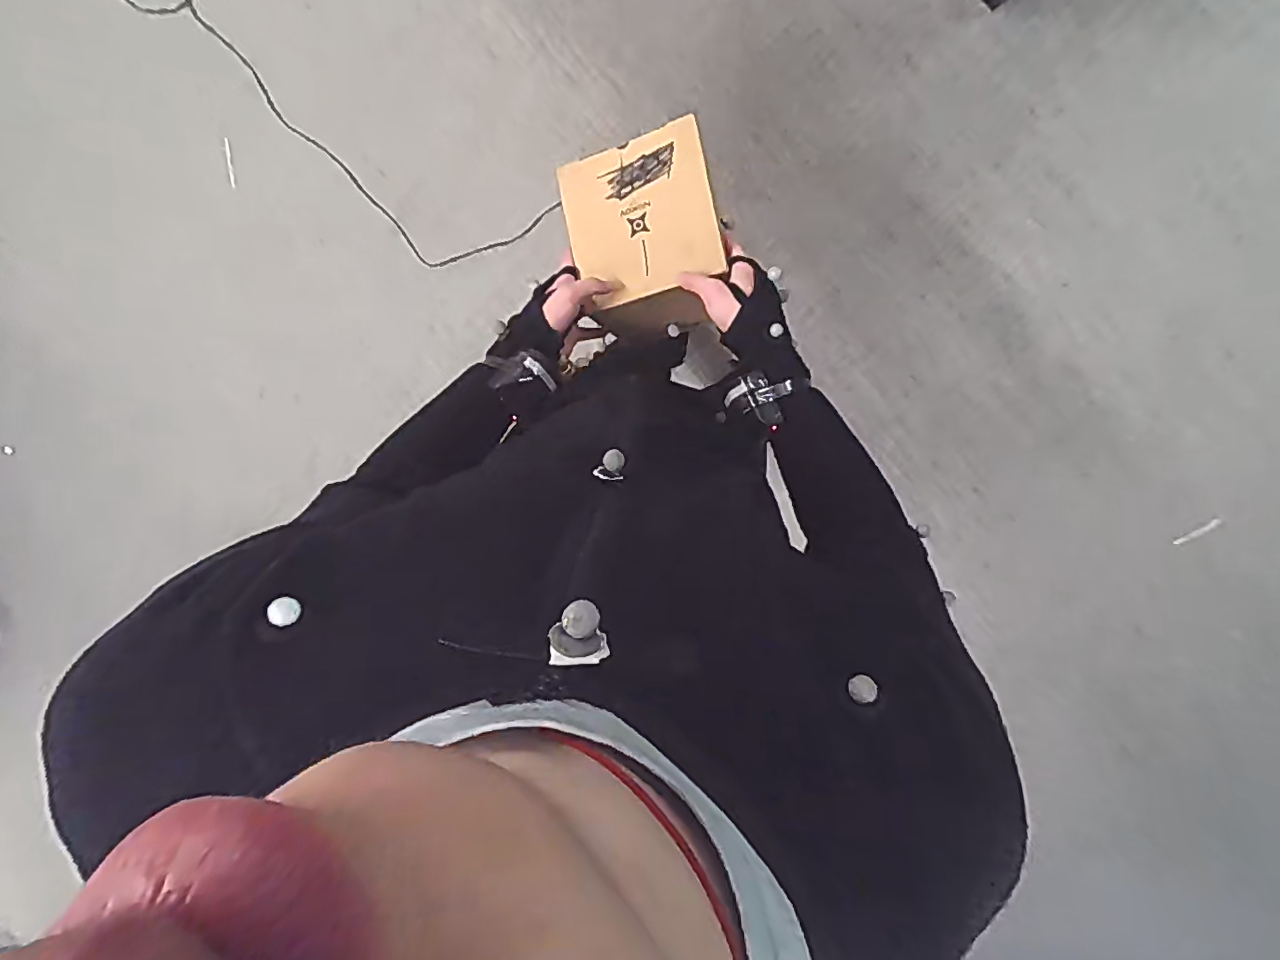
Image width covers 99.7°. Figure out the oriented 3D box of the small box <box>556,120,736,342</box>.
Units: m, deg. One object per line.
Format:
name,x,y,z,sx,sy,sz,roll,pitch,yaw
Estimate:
small box,0.017,-0.292,0.677,0.168,0.176,0.179,-12,88,18
